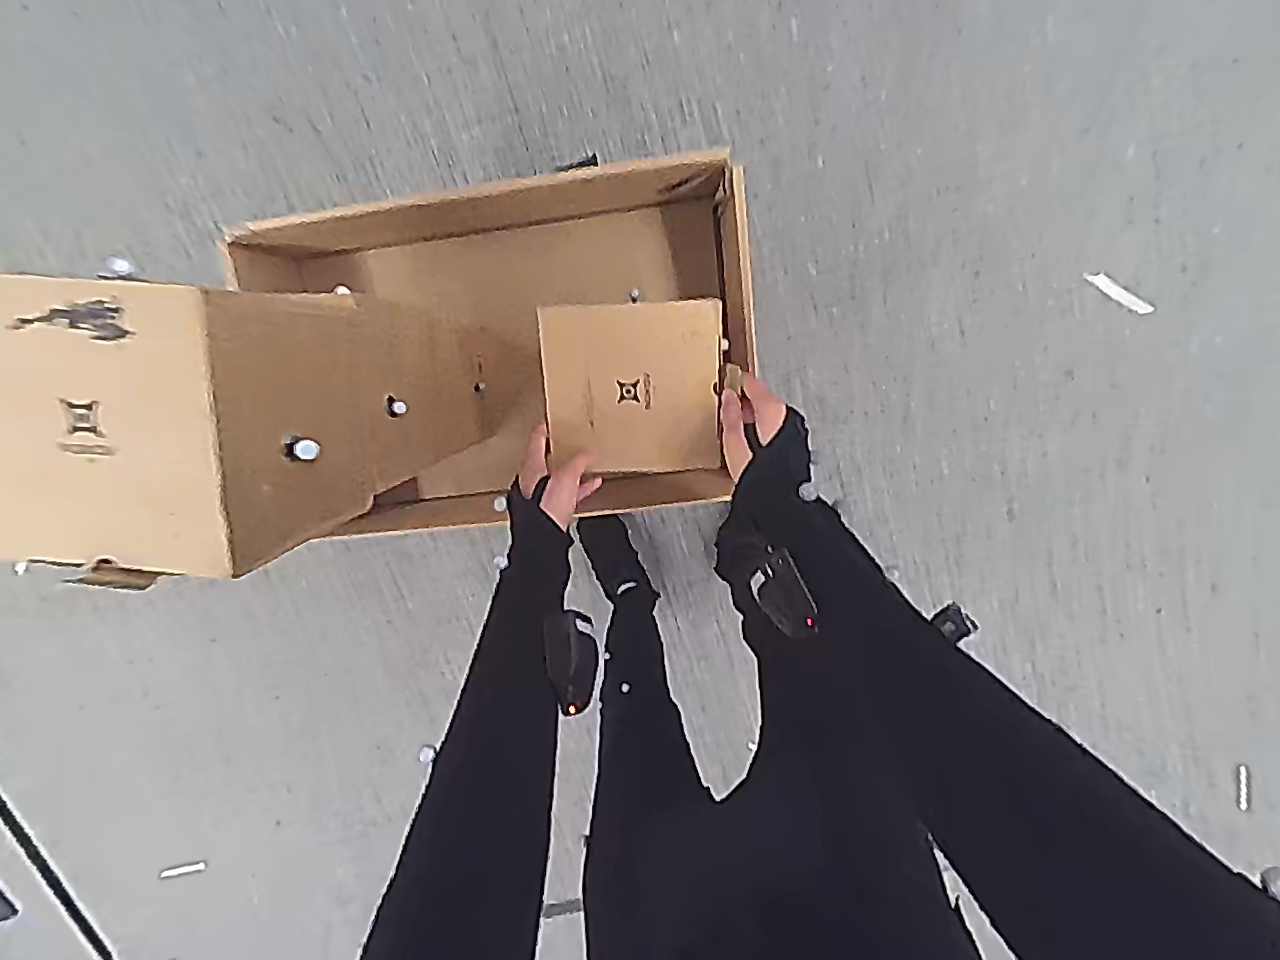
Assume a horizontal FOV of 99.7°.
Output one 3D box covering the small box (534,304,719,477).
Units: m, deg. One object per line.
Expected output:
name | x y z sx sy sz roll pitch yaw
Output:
small box | -0.010 -0.108 0.603 0.179 0.176 0.168 -1 108 3

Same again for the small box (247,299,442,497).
small box | -0.319 -0.089 0.559 0.168 0.176 0.179 1 103 2

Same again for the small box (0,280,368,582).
small box | -0.324 -0.045 0.401 0.168 0.176 0.179 4 104 1
